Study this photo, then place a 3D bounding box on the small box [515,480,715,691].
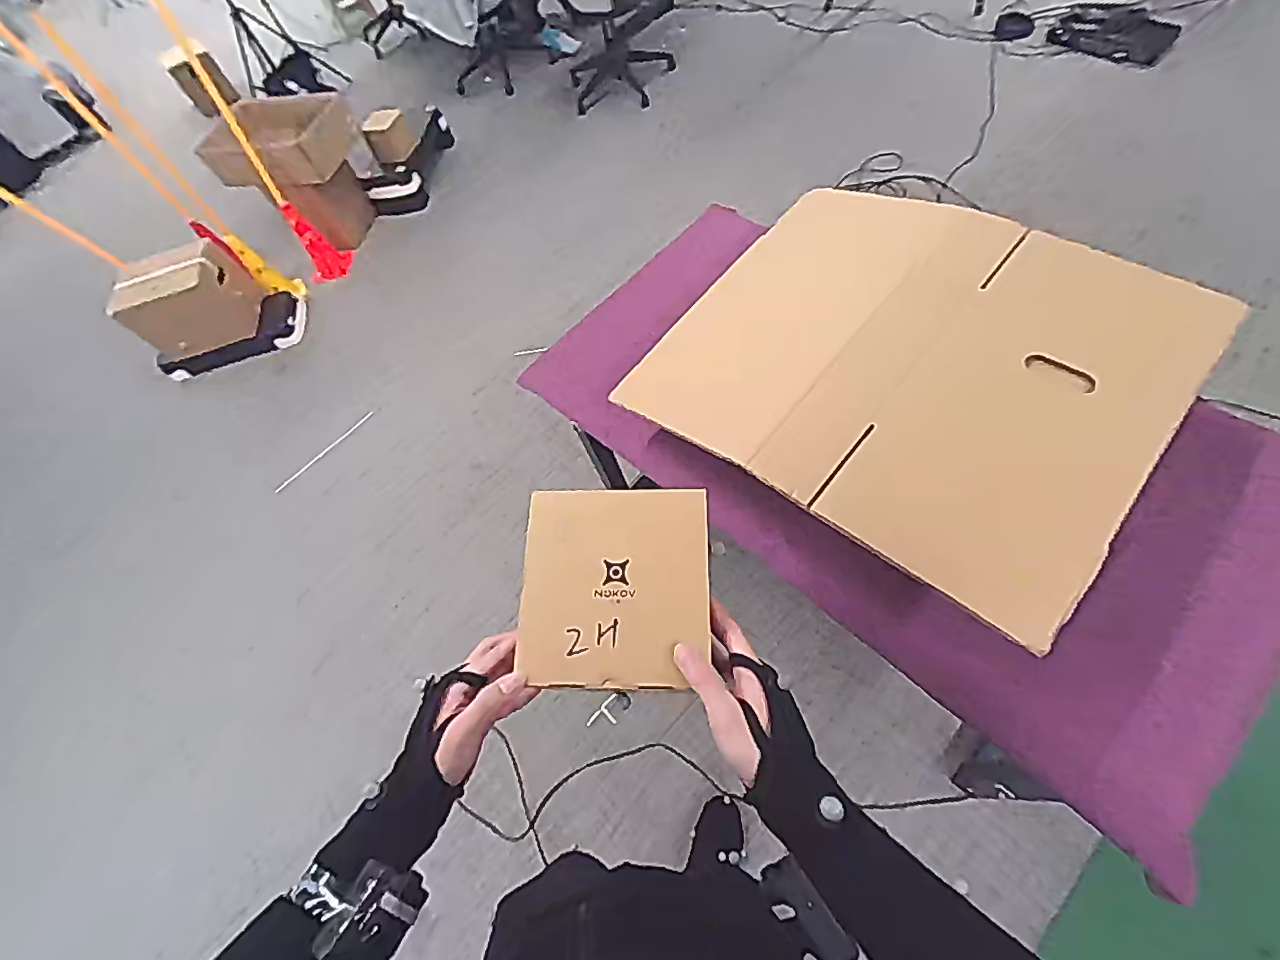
[{"bbox_3d":[-0.012,0.112,0.540,0.168,0.176,0.179,0,68,5],"label":"small box"}]
